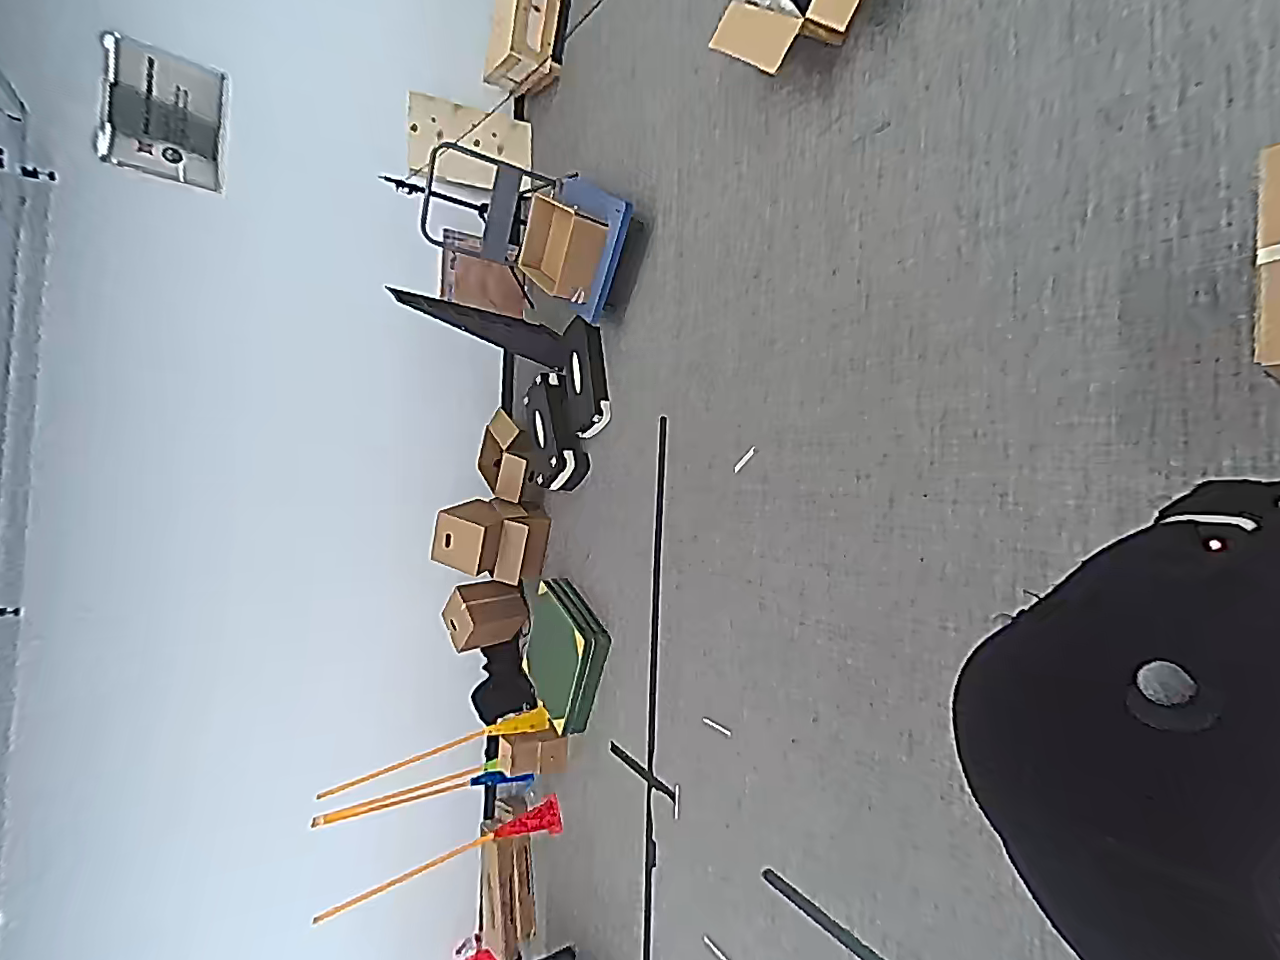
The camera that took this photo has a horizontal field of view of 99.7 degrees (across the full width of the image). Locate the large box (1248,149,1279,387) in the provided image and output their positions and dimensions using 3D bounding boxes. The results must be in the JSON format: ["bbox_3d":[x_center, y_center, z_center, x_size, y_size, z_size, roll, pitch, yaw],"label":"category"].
[{"bbox_3d":[1.110,-0.307,0.695,0.408,0.320,0.320,0,88,56],"label":"large box"}]
